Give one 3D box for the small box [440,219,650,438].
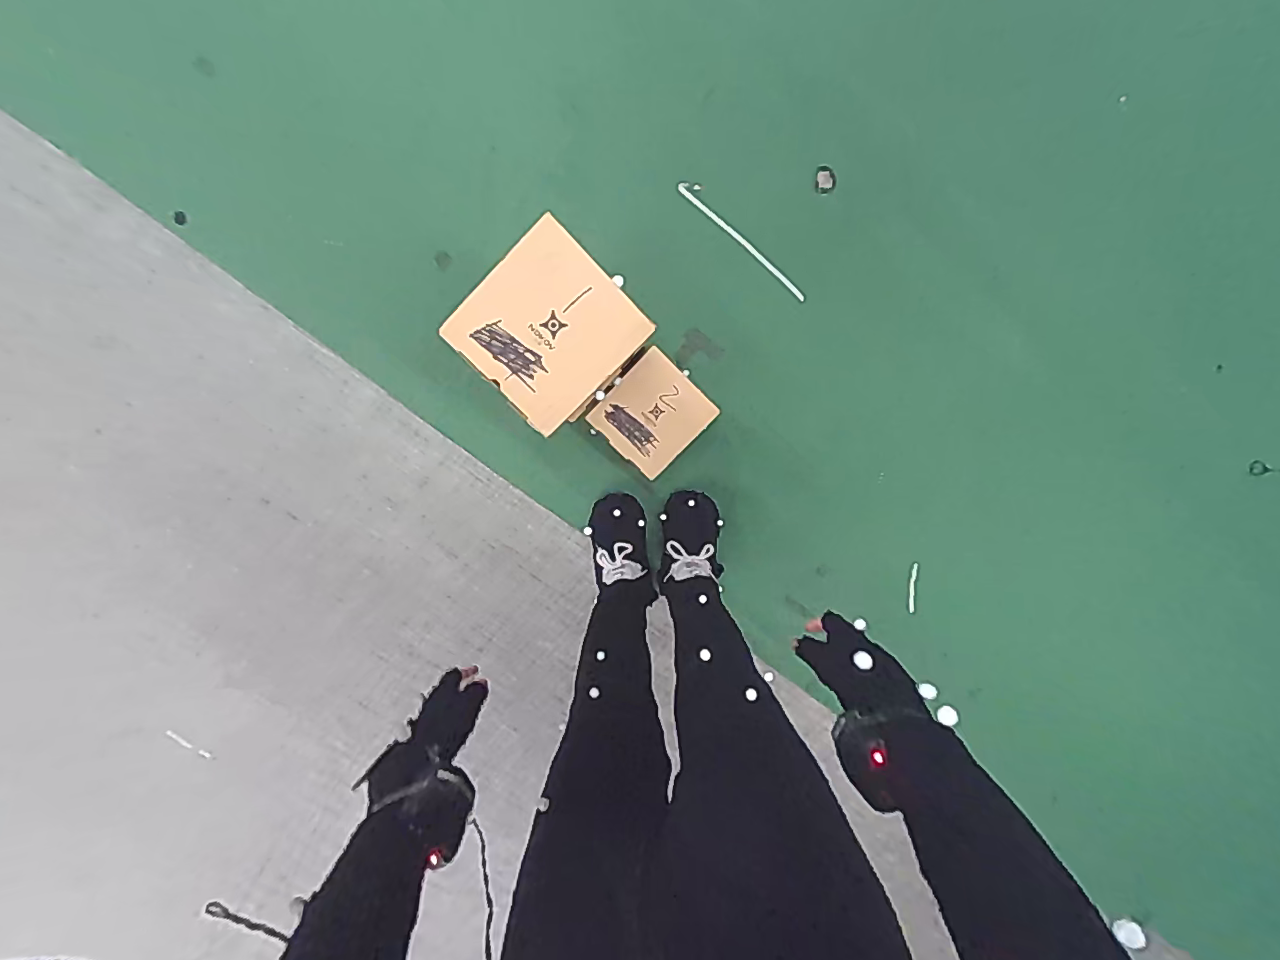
[{"bbox_3d":[-0.103,-0.176,0.666,0.179,0.176,0.168,-44,100,8],"label":"small box"}]
